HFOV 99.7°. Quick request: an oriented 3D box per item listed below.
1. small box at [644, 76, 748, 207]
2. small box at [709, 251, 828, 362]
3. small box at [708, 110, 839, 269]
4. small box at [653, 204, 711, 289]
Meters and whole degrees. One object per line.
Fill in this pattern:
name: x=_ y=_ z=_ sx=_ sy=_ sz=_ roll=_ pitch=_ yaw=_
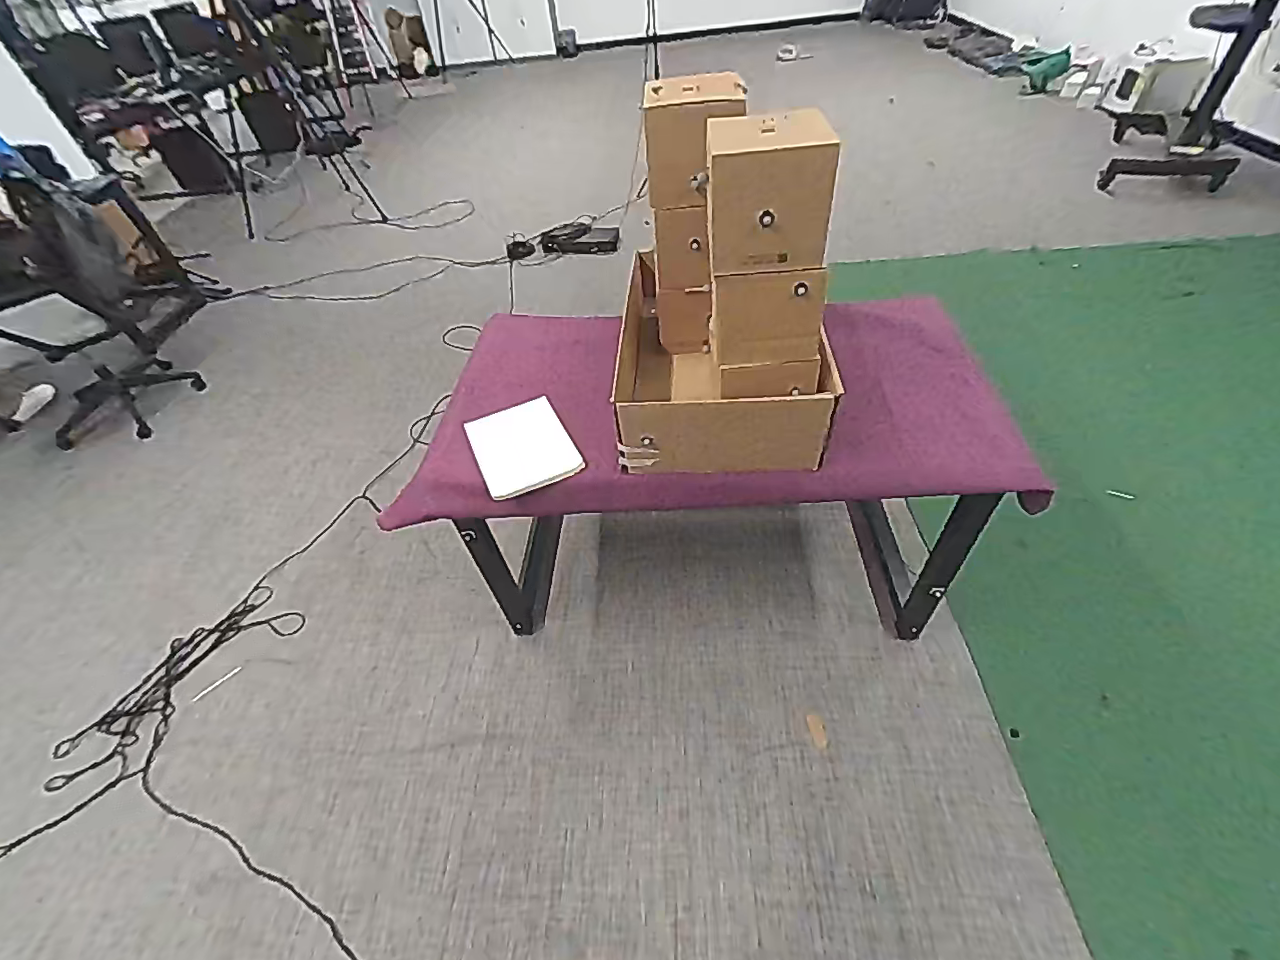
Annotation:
small box: x=0.102 y=-0.632 z=1.016 sx=0.179 sy=0.176 sz=0.168 roll=-1 pitch=48 yaw=5
small box: x=0.210 y=-0.315 z=0.928 sx=0.179 sy=0.176 sz=0.168 roll=-1 pitch=46 yaw=6
small box: x=0.188 y=-0.429 z=0.810 sx=0.168 sy=0.176 sz=0.179 roll=-1 pitch=45 yaw=6
small box: x=0.118 y=-0.520 z=1.135 sx=0.179 sy=0.176 sz=0.168 roll=-3 pitch=48 yaw=4
